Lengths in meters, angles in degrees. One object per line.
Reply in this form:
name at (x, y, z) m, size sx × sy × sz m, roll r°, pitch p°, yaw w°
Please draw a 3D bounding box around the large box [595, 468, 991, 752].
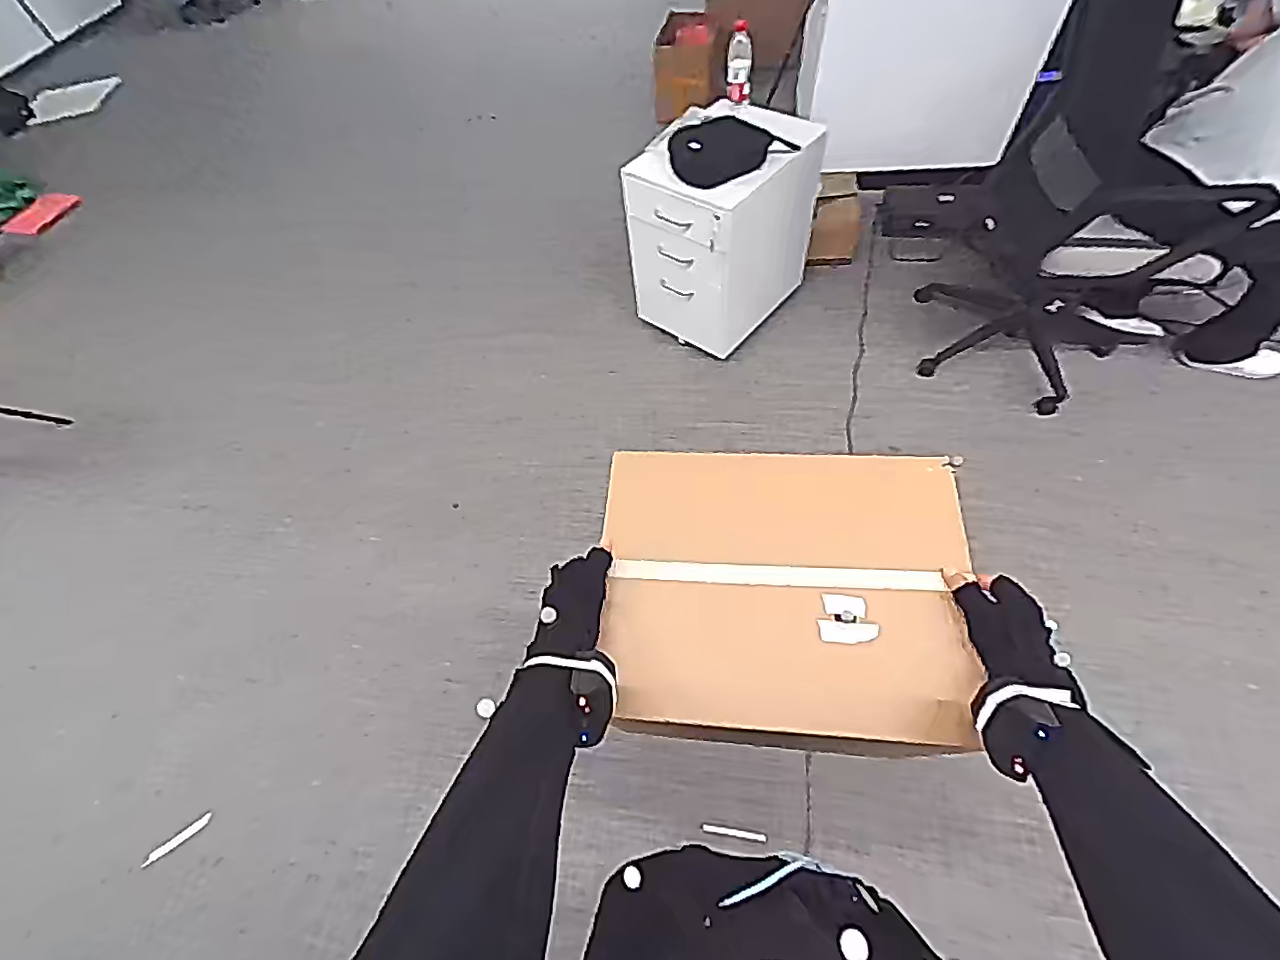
large box at (0.169, 0.190, 0.746) m, size 0.408 × 0.320 × 0.320 m, roll 1°, pitch 63°, yaw 7°
